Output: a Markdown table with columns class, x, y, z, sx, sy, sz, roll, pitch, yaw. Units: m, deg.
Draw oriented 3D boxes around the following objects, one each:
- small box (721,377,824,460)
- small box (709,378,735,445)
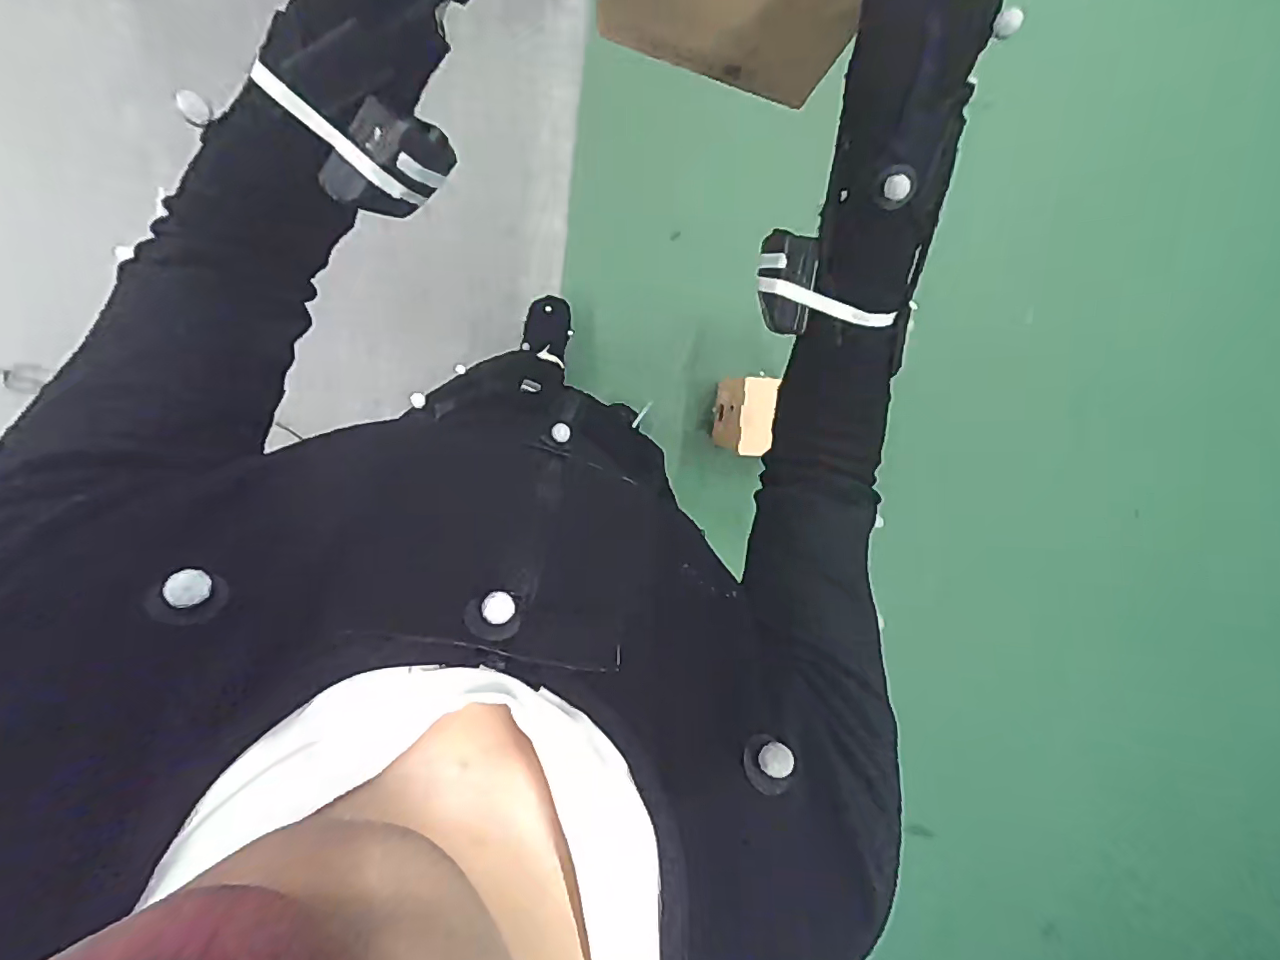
| class | x | y | z | sx | sy | sz | roll | pitch | yaw |
| --- | --- | --- | --- | --- | --- | --- | --- | --- | --- |
| small box | 0.292 | -0.144 | 1.223 | 0.179 | 0.176 | 0.168 | 4 | 100 | -2 |
| small box | 0.284 | -0.169 | 1.384 | 0.179 | 0.176 | 0.168 | 6 | 99 | -3 |
